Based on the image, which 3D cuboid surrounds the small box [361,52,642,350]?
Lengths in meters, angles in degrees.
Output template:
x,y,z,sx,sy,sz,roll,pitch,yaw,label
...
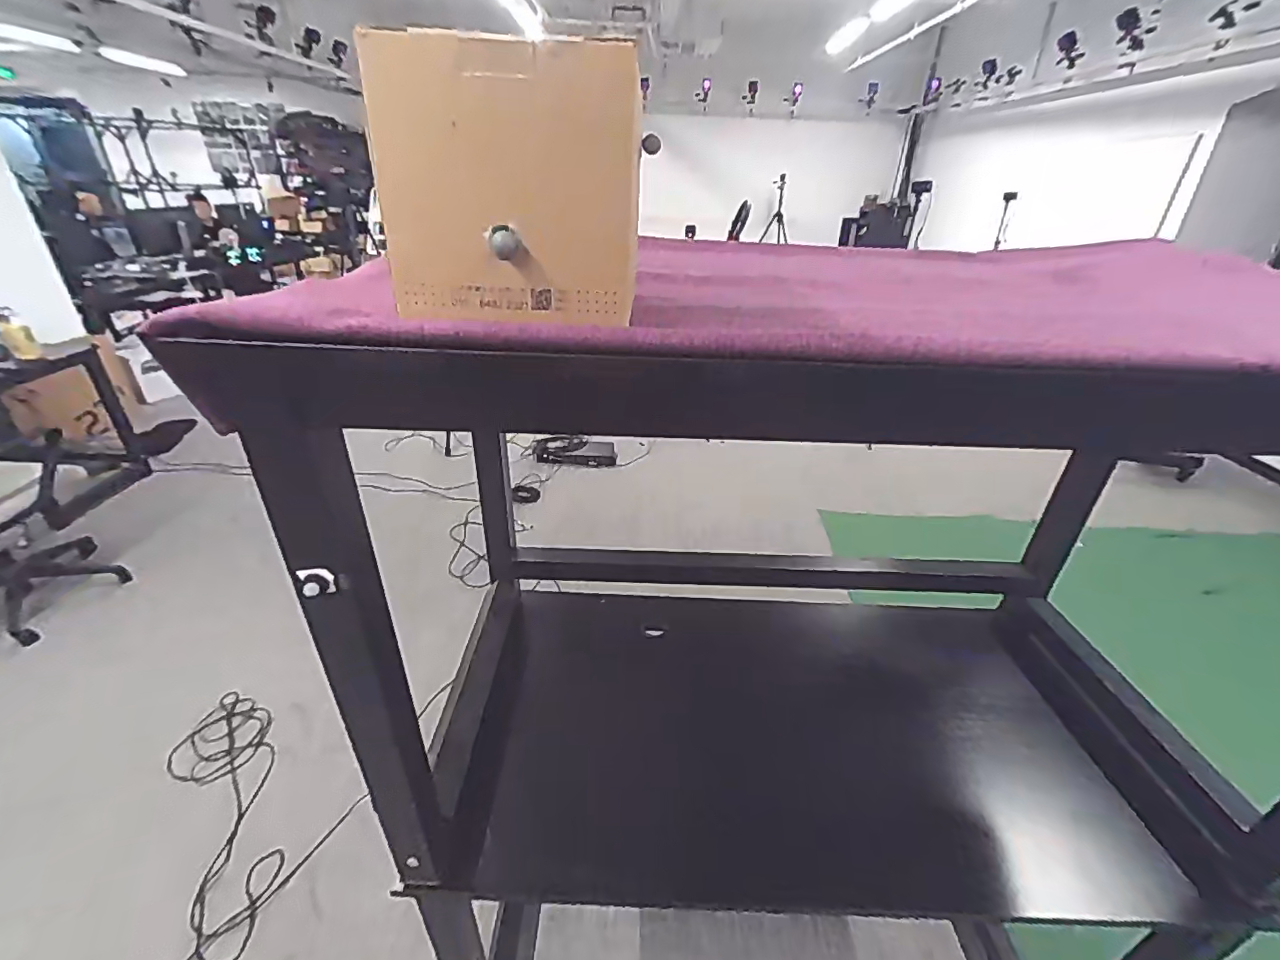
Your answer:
x,y,z,sx,sy,sz,roll,pitch,yaw,label
-0.086,-0.210,0.427,0.168,0.176,0.179,2,29,0,small box
